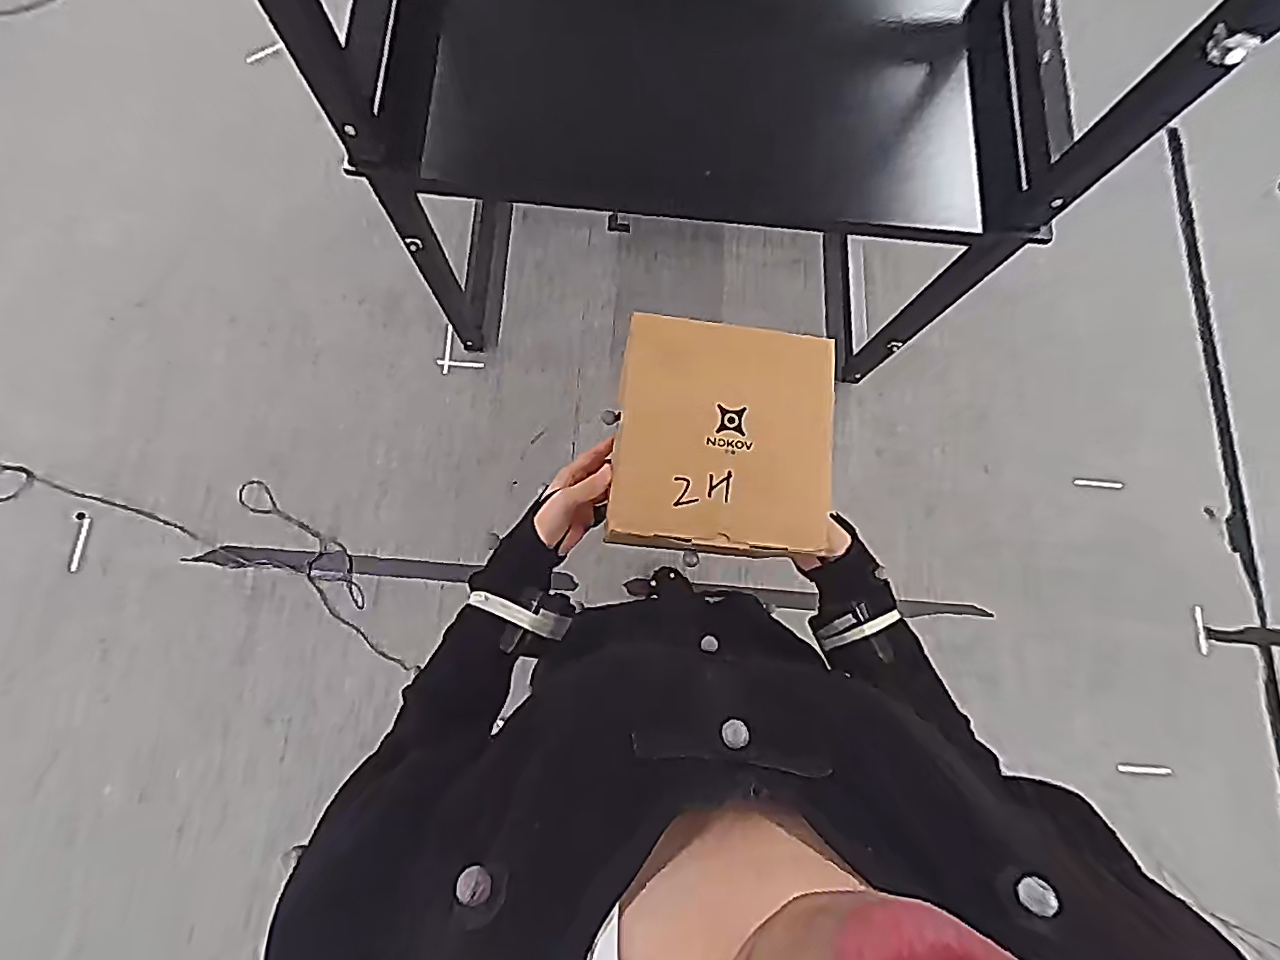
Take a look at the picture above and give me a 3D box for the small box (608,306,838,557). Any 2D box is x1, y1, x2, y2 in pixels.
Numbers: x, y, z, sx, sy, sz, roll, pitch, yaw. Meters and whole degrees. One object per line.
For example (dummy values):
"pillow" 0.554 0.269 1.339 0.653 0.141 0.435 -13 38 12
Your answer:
"small box" 0.062 -0.028 0.491 0.168 0.176 0.179 7 80 -4
